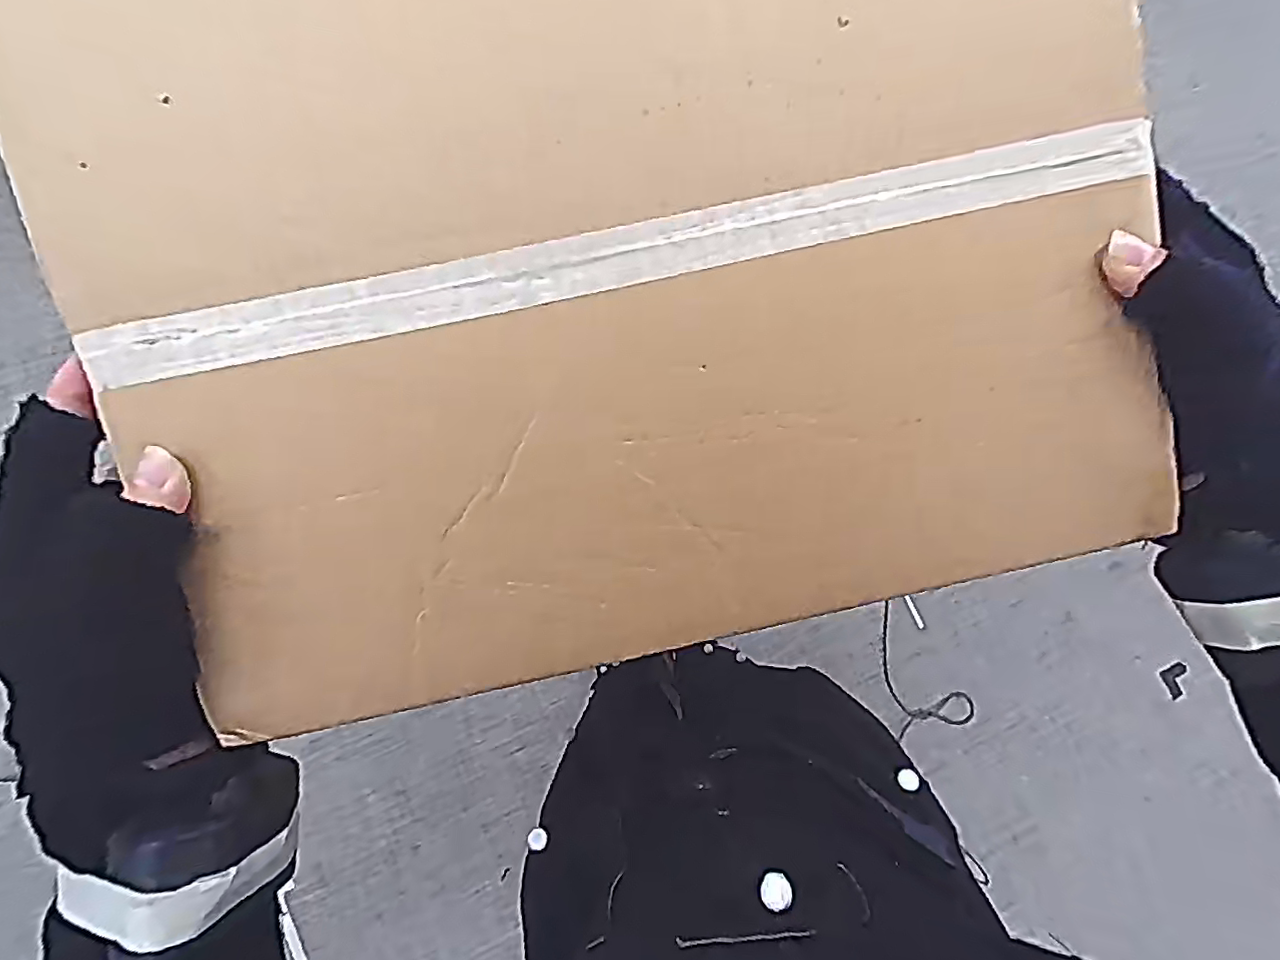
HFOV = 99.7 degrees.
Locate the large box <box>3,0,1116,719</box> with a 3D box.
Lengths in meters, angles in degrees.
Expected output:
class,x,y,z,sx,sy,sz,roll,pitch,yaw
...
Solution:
class,x,y,z,sx,sy,sz,roll,pitch,yaw
large box,-0.013,-0.108,0.364,0.408,0.320,0.320,-12,98,-2
